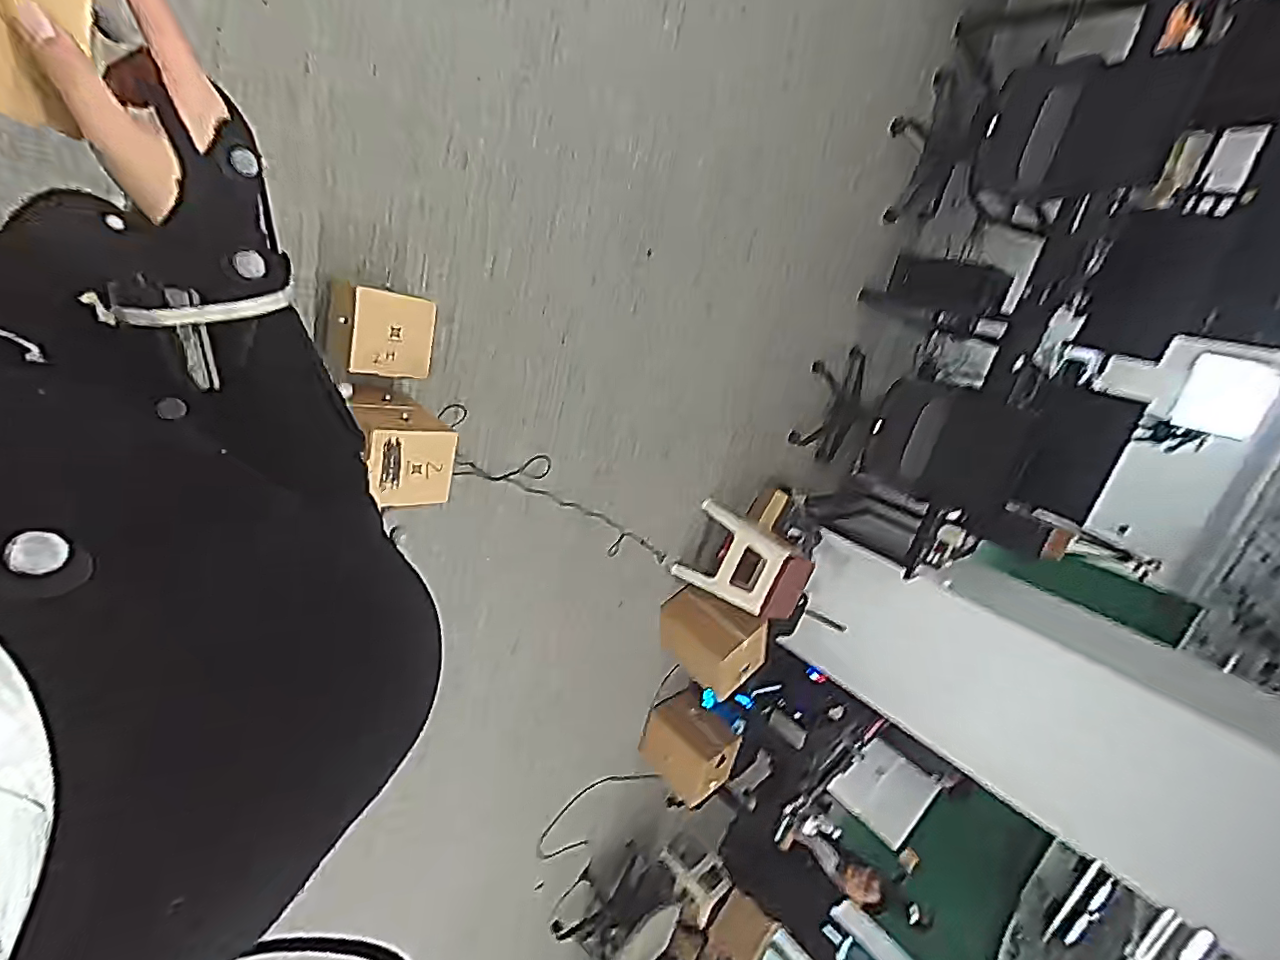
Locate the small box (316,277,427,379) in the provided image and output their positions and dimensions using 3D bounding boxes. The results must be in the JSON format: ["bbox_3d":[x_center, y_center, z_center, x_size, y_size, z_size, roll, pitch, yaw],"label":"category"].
[{"bbox_3d":[-0.592,-0.333,1.184,0.168,0.176,0.179,-1,112,-46],"label":"small box"}]

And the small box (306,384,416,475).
[{"bbox_3d":[-0.647,-0.119,1.252,0.179,0.176,0.168,-3,114,-45],"label":"small box"}]

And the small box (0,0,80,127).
[{"bbox_3d":[-0.374,-0.292,0.238,0.179,0.176,0.168,1,118,-46],"label":"small box"}]
